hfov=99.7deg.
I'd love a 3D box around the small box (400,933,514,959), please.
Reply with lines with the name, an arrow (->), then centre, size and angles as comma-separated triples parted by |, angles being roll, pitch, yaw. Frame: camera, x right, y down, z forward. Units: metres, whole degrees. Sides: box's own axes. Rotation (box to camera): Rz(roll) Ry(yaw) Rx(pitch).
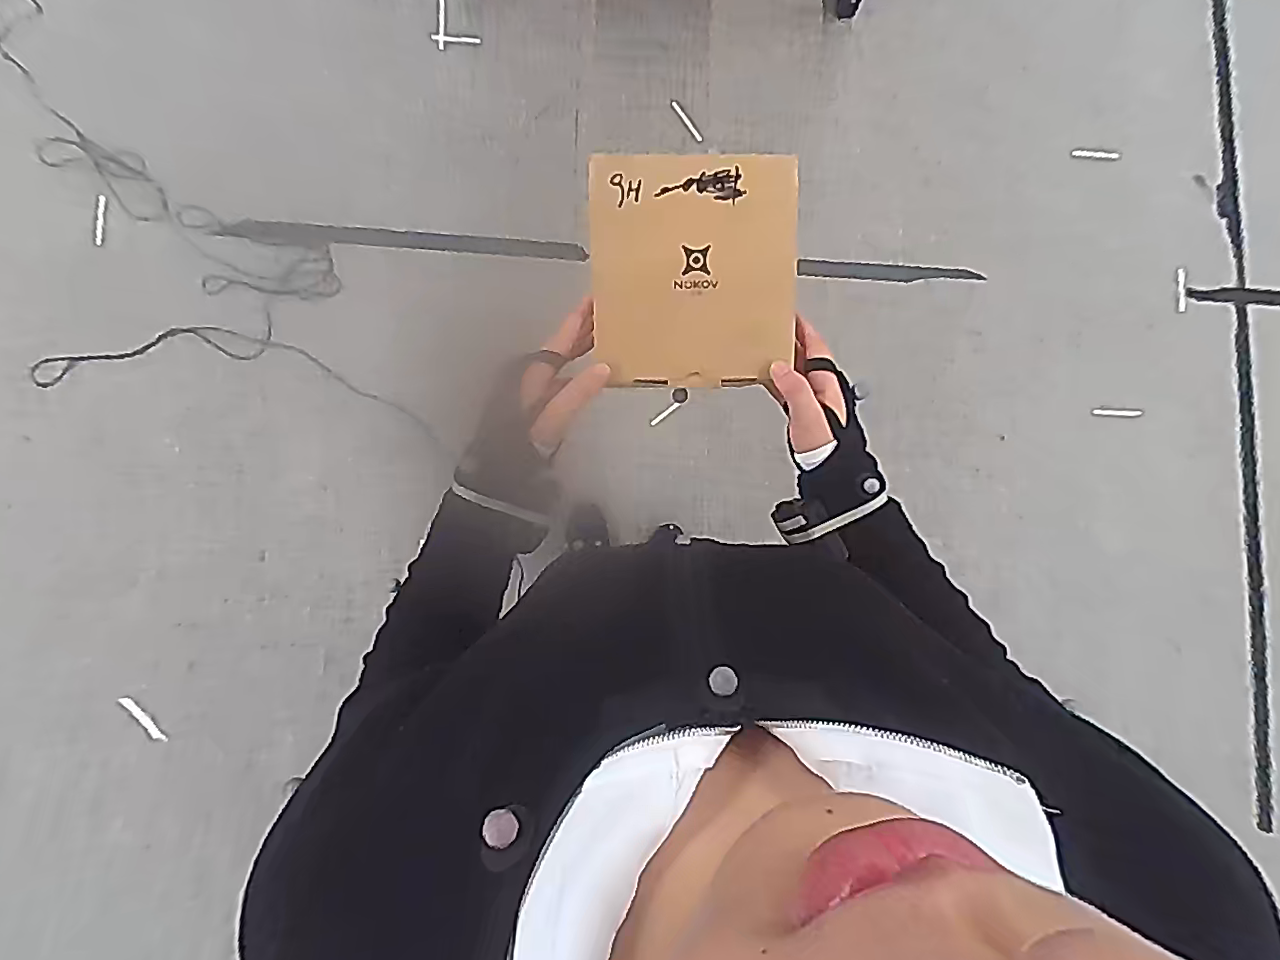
small box -> -0.270, 0.780, 0.747 | 0.168, 0.176, 0.179 | 2, 84, -6

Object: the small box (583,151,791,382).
small box -> 0.035, -0.184, 0.514 | 0.168, 0.176, 0.179 | -2, 99, -2
